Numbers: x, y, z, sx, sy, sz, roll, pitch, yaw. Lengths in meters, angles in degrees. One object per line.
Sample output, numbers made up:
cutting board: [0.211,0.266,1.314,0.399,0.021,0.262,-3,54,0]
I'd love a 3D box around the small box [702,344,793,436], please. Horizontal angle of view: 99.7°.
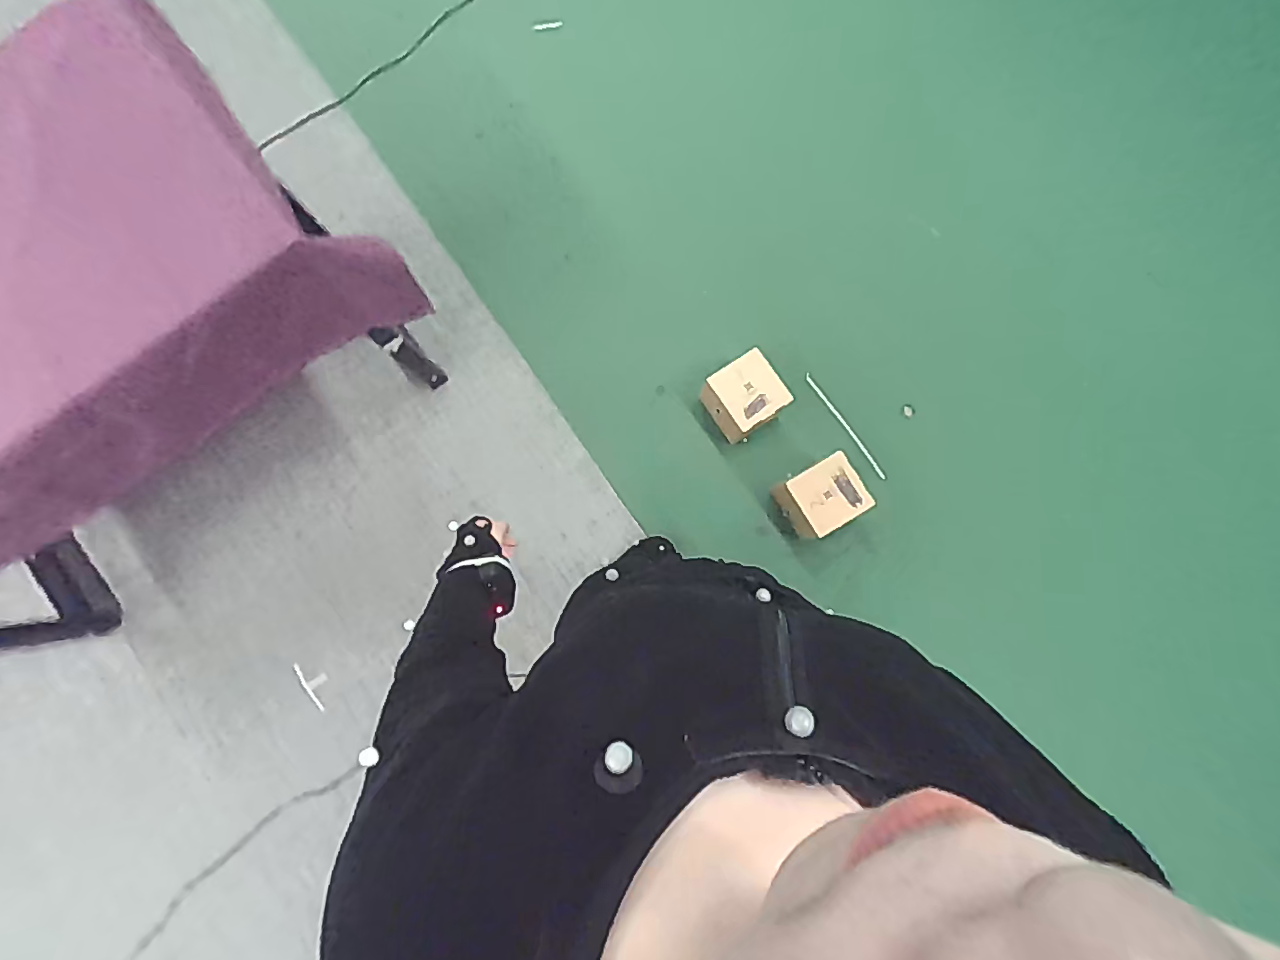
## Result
small box: [0.288,-0.235,1.487,0.168,0.176,0.179,-33,83,-4]
